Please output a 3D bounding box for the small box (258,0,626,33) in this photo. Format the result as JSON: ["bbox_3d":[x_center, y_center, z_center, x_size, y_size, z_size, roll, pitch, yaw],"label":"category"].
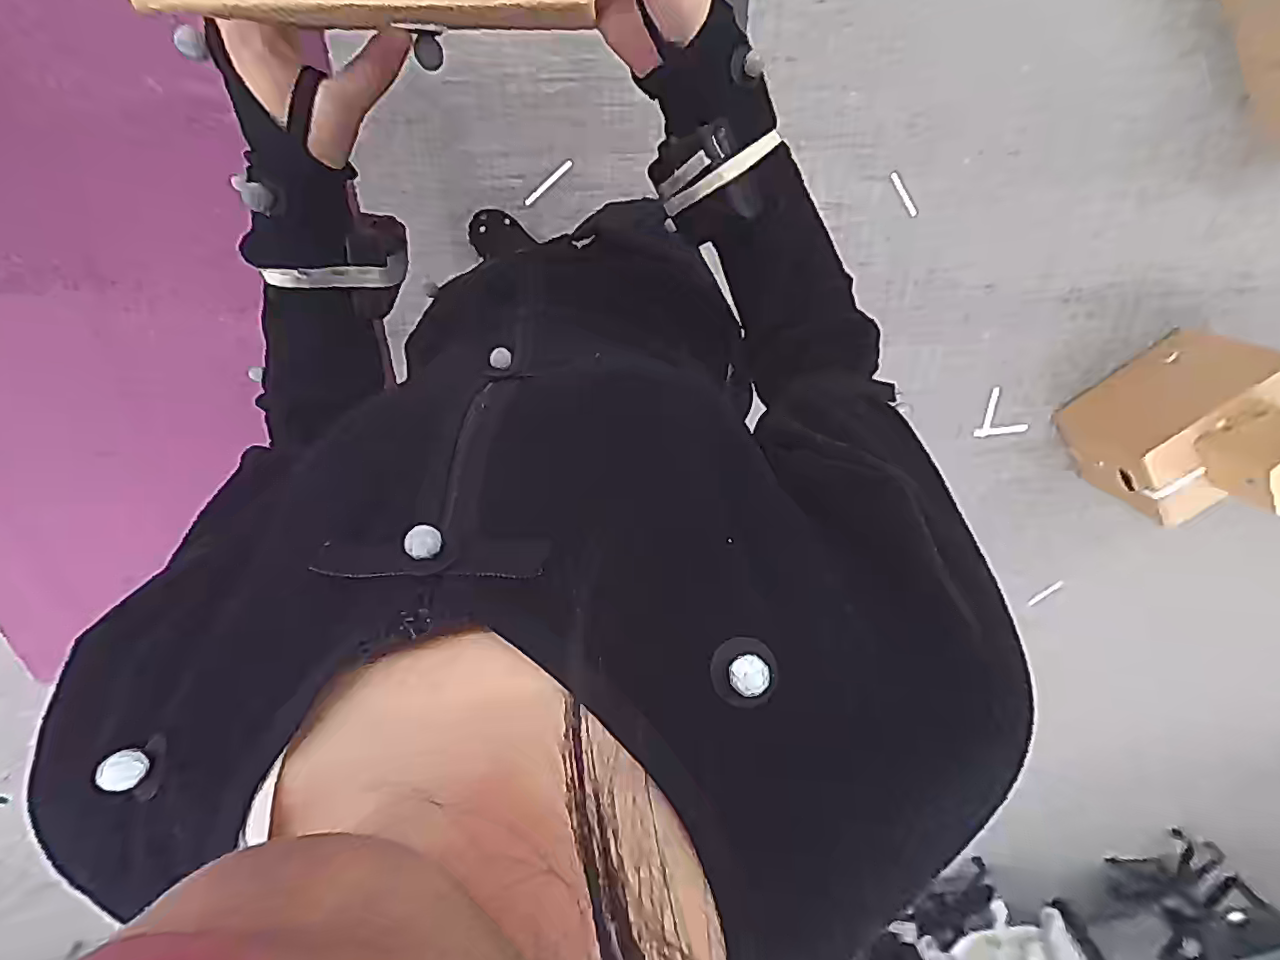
[{"bbox_3d":[-0.091,-0.293,0.210,0.168,0.176,0.179,-2,128,-2],"label":"small box"}]

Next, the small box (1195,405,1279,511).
[{"bbox_3d":[1.533,-0.063,1.329,0.168,0.176,0.179,-38,116,14],"label":"small box"}]
